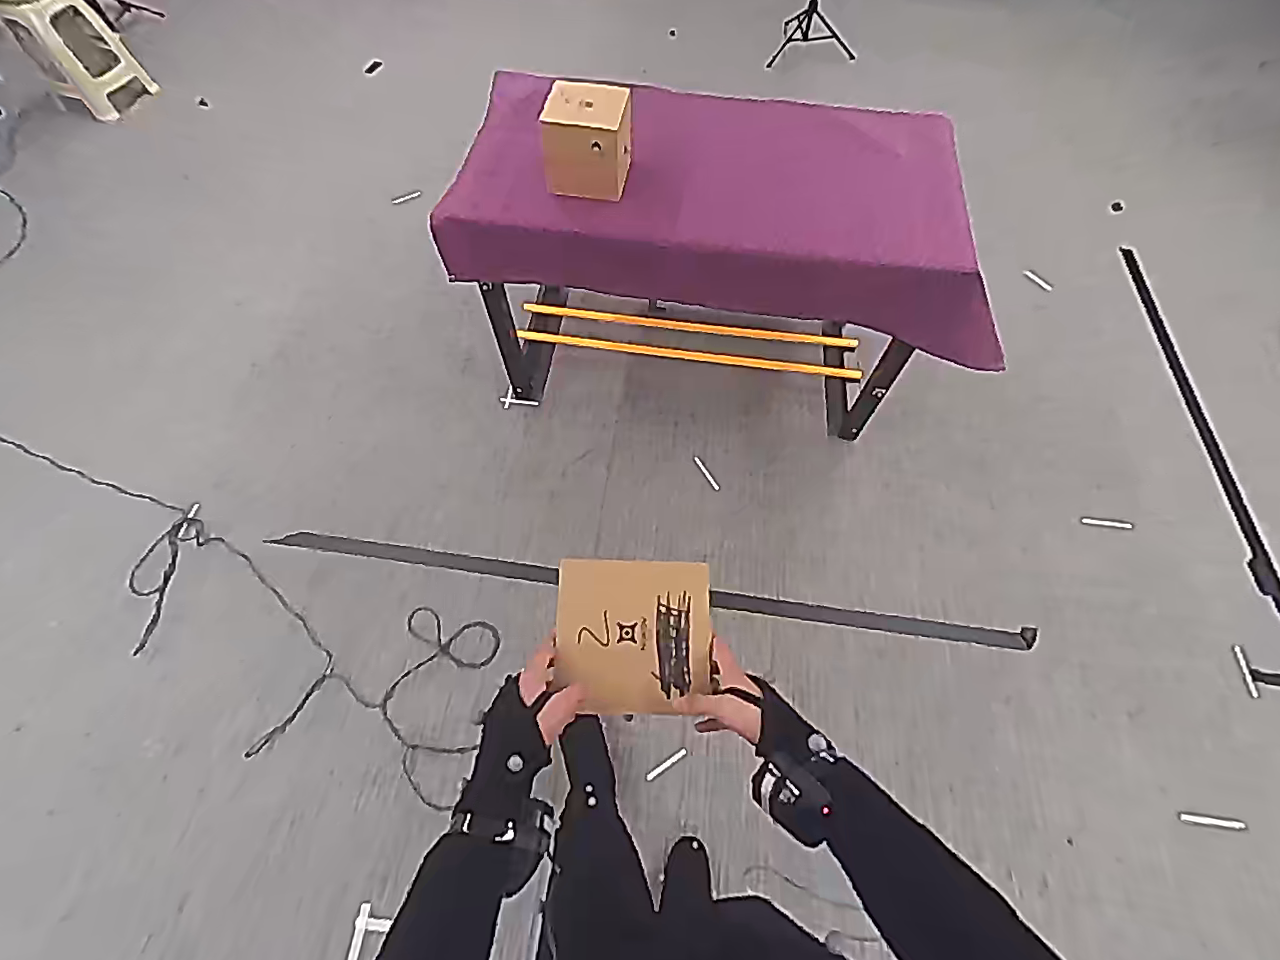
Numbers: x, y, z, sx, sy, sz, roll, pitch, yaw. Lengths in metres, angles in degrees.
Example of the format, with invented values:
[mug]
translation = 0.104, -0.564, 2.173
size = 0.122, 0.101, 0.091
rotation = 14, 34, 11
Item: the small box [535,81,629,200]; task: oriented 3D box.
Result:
[small box]
translation = -0.125, -0.774, 1.244
size = 0.179, 0.176, 0.168
rotation = 9, 62, 4
